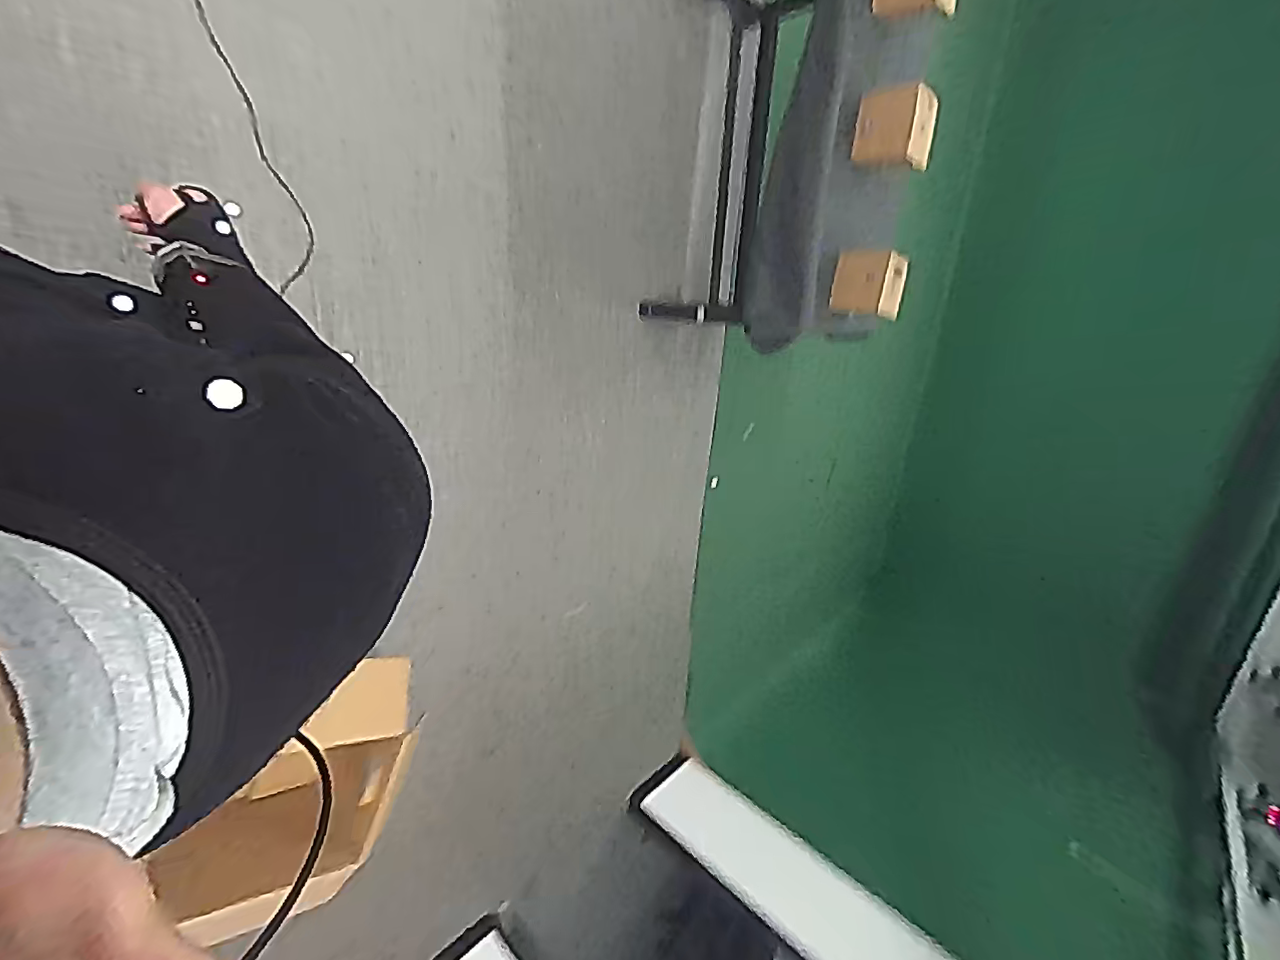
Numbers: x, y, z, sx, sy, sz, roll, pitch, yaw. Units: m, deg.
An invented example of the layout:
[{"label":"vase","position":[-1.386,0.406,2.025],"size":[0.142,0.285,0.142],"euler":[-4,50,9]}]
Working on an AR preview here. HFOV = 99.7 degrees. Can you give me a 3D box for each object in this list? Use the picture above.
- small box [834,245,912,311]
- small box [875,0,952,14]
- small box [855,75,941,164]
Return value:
[{"label":"small box","position":[0.753,-0.653,1.757],"size":[0.168,0.176,0.179],"euler":[-8,111,-46]},{"label":"small box","position":[0.753,-1.398,1.462],"size":[0.179,0.176,0.168],"euler":[-28,126,-41]},{"label":"small box","position":[0.760,-1.058,1.606],"size":[0.168,0.176,0.179],"euler":[-14,116,-45]}]
